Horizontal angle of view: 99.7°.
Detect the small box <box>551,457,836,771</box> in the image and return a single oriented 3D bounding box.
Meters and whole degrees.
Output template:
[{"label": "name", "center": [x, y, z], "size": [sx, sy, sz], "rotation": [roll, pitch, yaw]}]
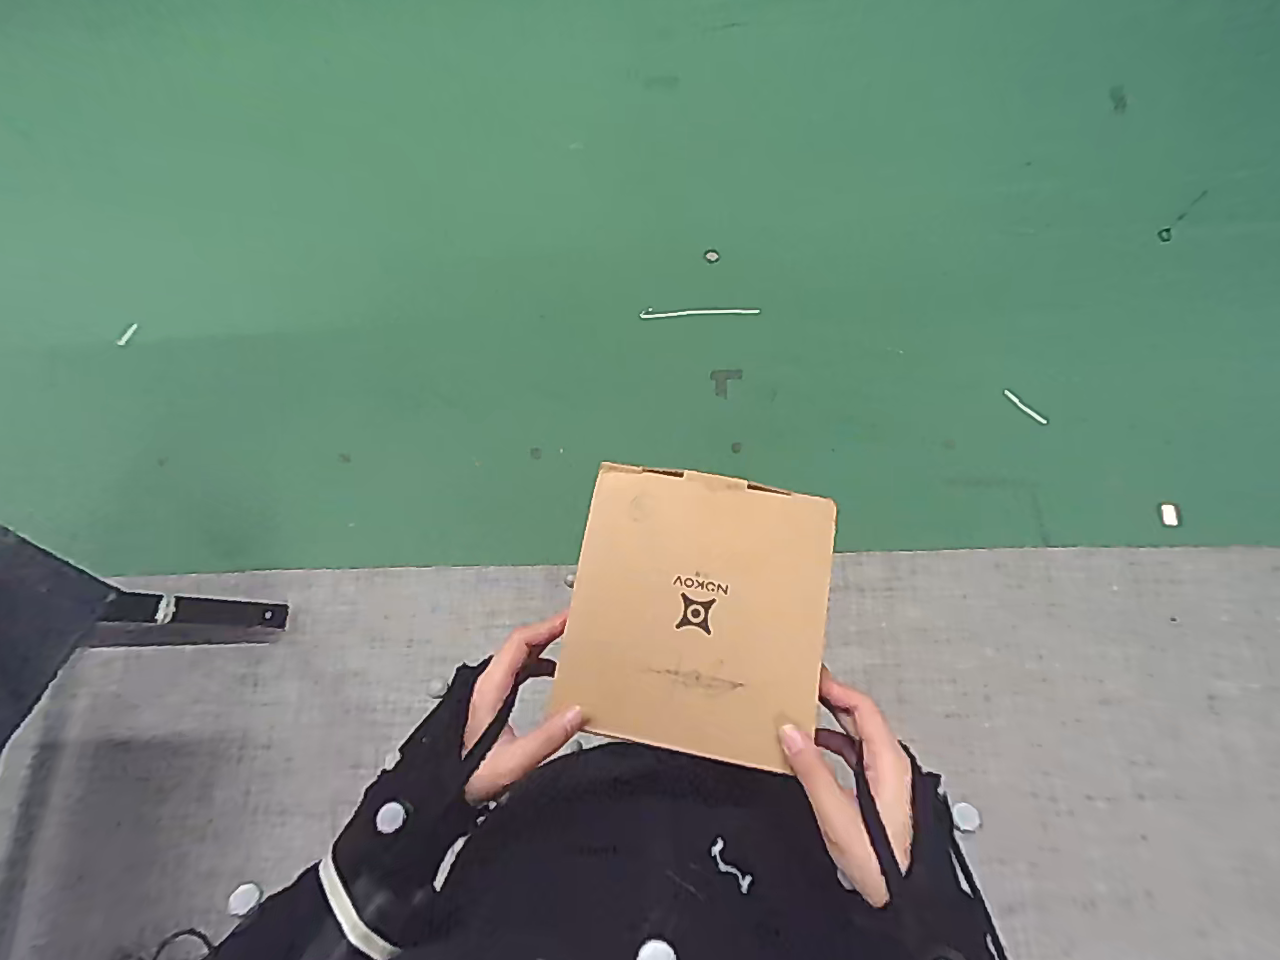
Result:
[{"label": "small box", "center": [0.041, 0.099, 0.430], "size": [0.168, 0.176, 0.179], "rotation": [10, 76, 5]}]
